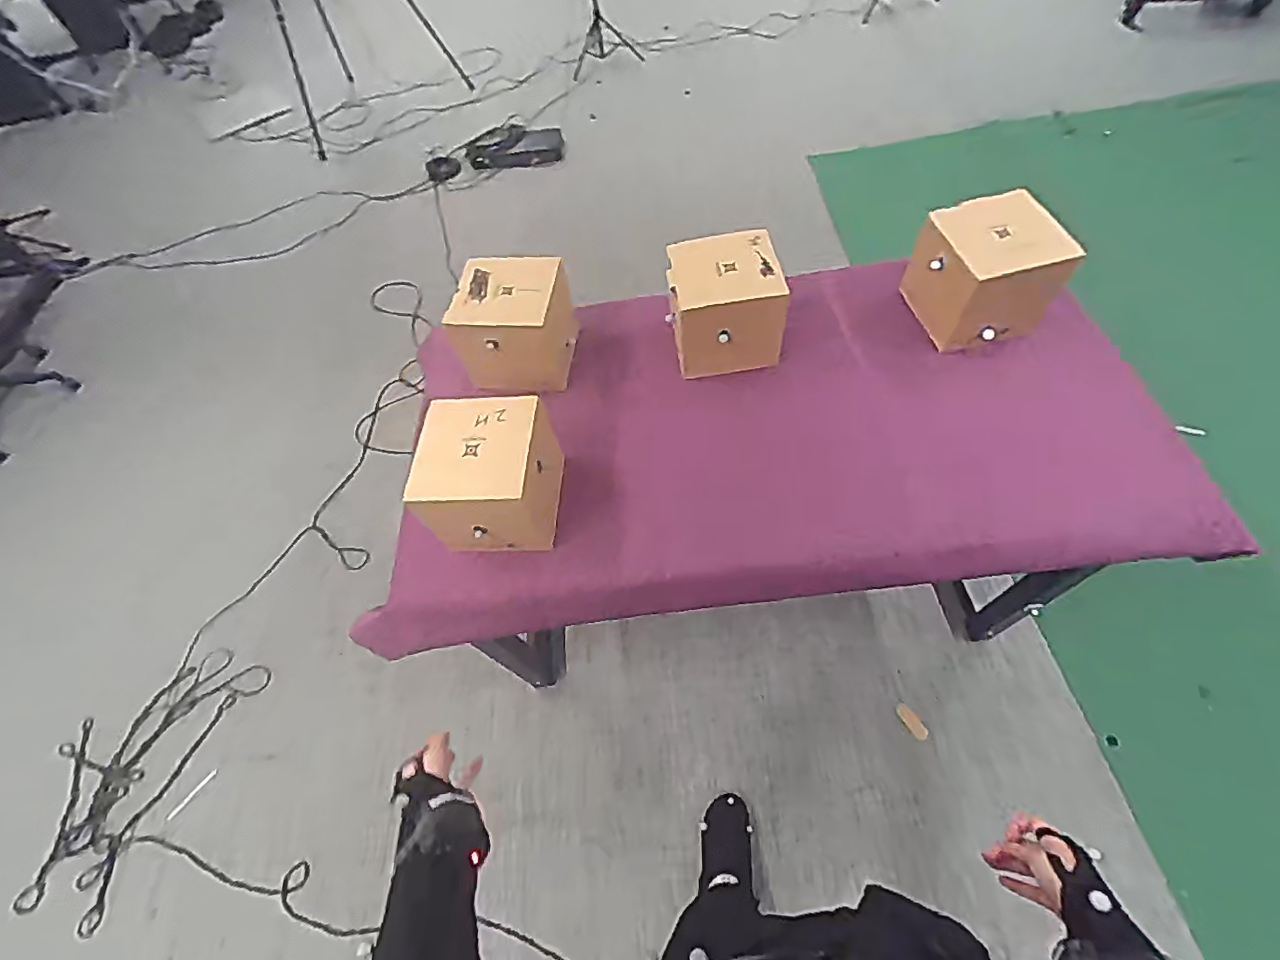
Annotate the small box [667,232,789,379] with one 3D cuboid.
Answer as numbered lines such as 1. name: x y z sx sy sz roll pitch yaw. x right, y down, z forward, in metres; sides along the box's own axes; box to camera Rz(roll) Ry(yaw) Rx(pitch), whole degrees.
1. small box: 0.151 -0.297 0.949 0.179 0.176 0.168 -9 60 3

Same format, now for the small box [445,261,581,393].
1. small box: -0.217 -0.272 0.981 0.179 0.176 0.168 3 61 8

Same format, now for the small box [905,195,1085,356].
1. small box: 0.581 -0.342 0.918 0.168 0.176 0.179 -13 59 2

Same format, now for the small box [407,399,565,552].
1. small box: -0.216 0.001 0.814 0.168 0.176 0.179 -1 59 6
